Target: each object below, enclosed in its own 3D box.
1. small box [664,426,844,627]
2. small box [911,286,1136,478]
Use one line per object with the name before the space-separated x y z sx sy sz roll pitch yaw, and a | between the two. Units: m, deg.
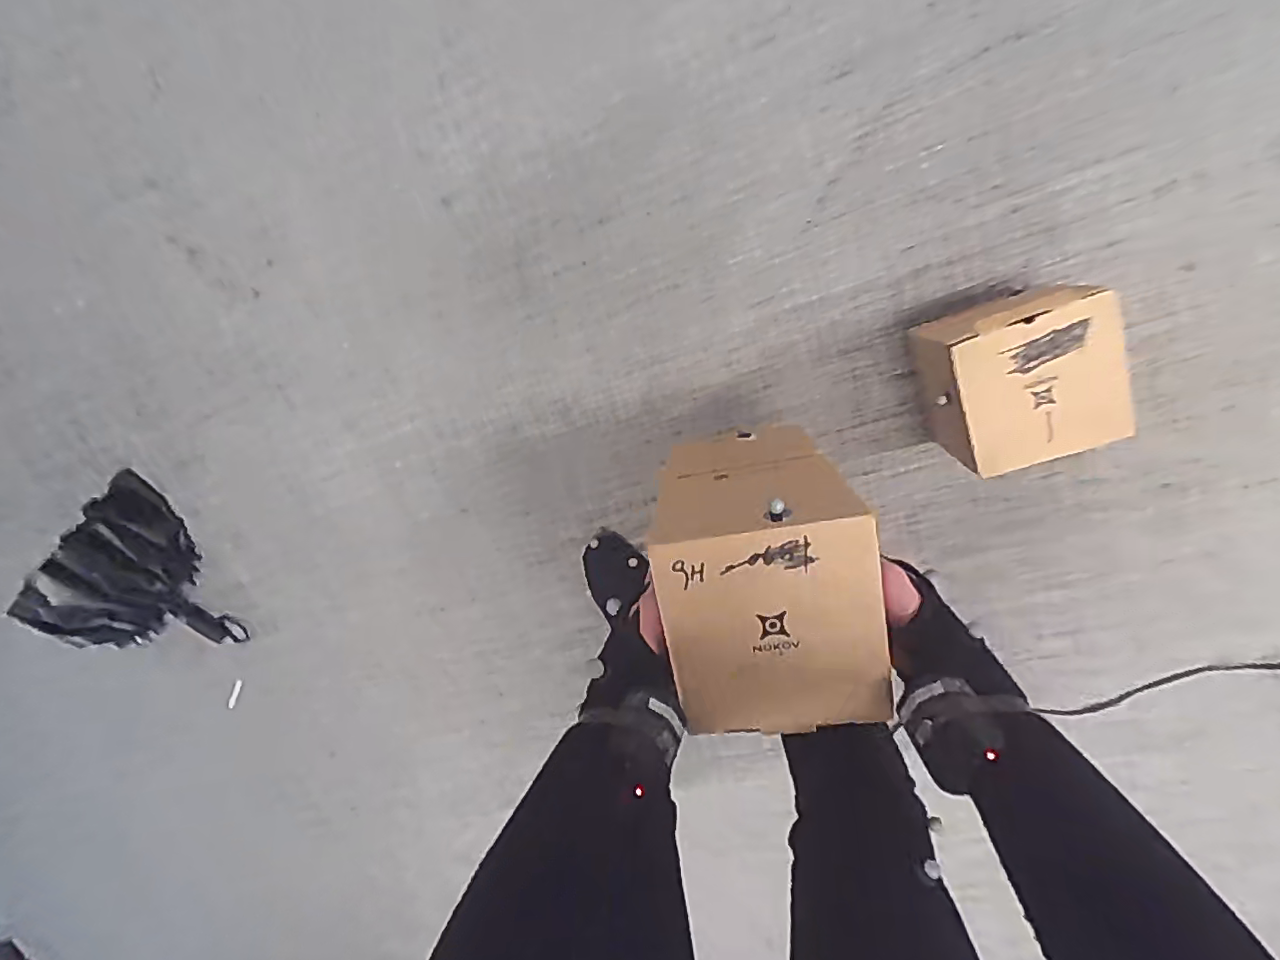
small box | 0.131 0.047 0.637 0.168 0.176 0.179 -10 104 10
small box | 0.466 -0.129 0.682 0.168 0.176 0.179 -19 106 17
